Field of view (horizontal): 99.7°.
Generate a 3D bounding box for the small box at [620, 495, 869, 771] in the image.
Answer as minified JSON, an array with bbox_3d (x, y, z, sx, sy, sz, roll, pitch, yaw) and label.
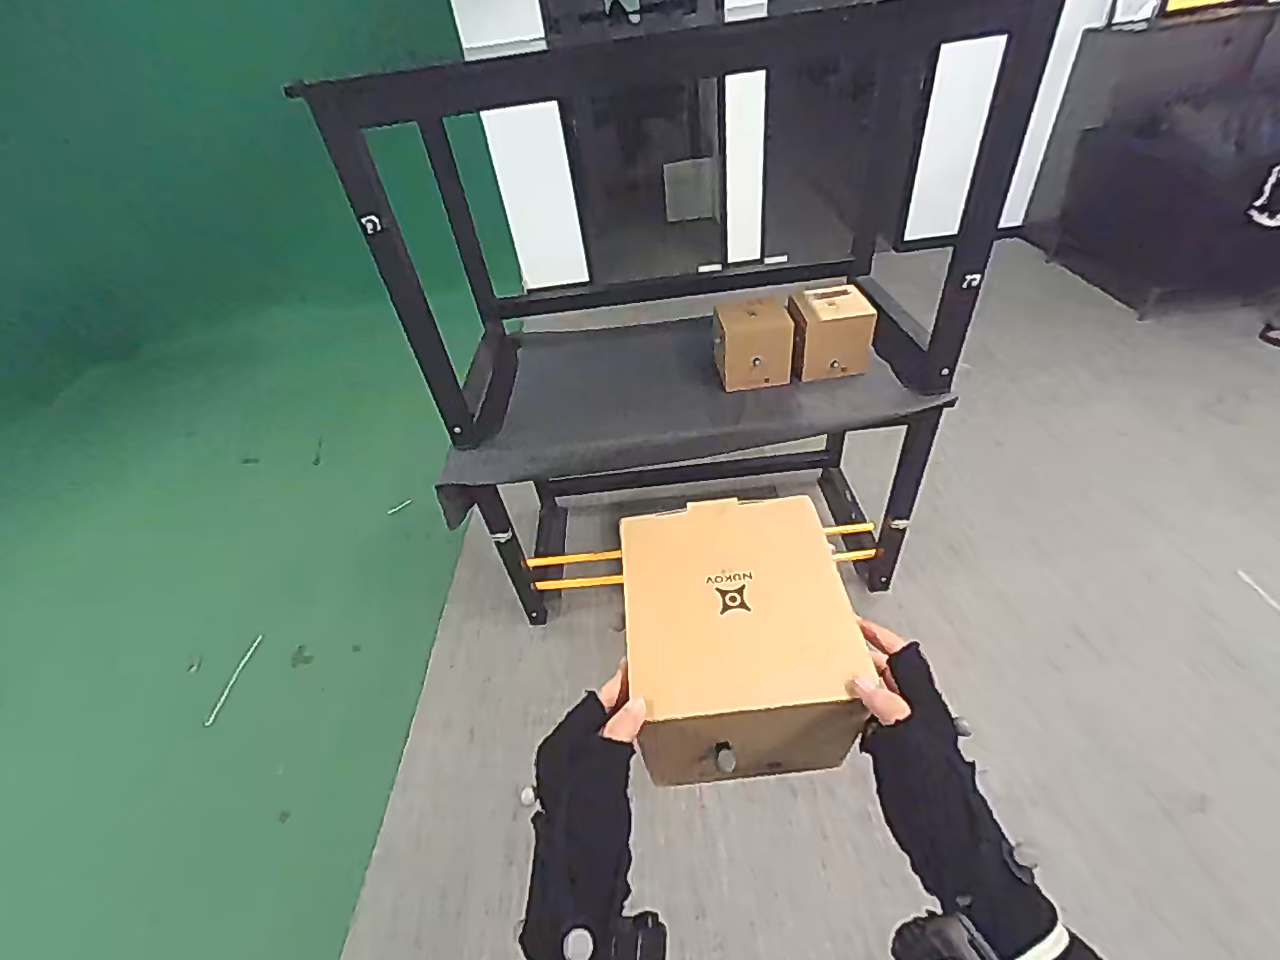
[{"bbox_3d":[0.078,0.140,0.477,0.168,0.176,0.179,-8,47,1],"label":"small box"}]
